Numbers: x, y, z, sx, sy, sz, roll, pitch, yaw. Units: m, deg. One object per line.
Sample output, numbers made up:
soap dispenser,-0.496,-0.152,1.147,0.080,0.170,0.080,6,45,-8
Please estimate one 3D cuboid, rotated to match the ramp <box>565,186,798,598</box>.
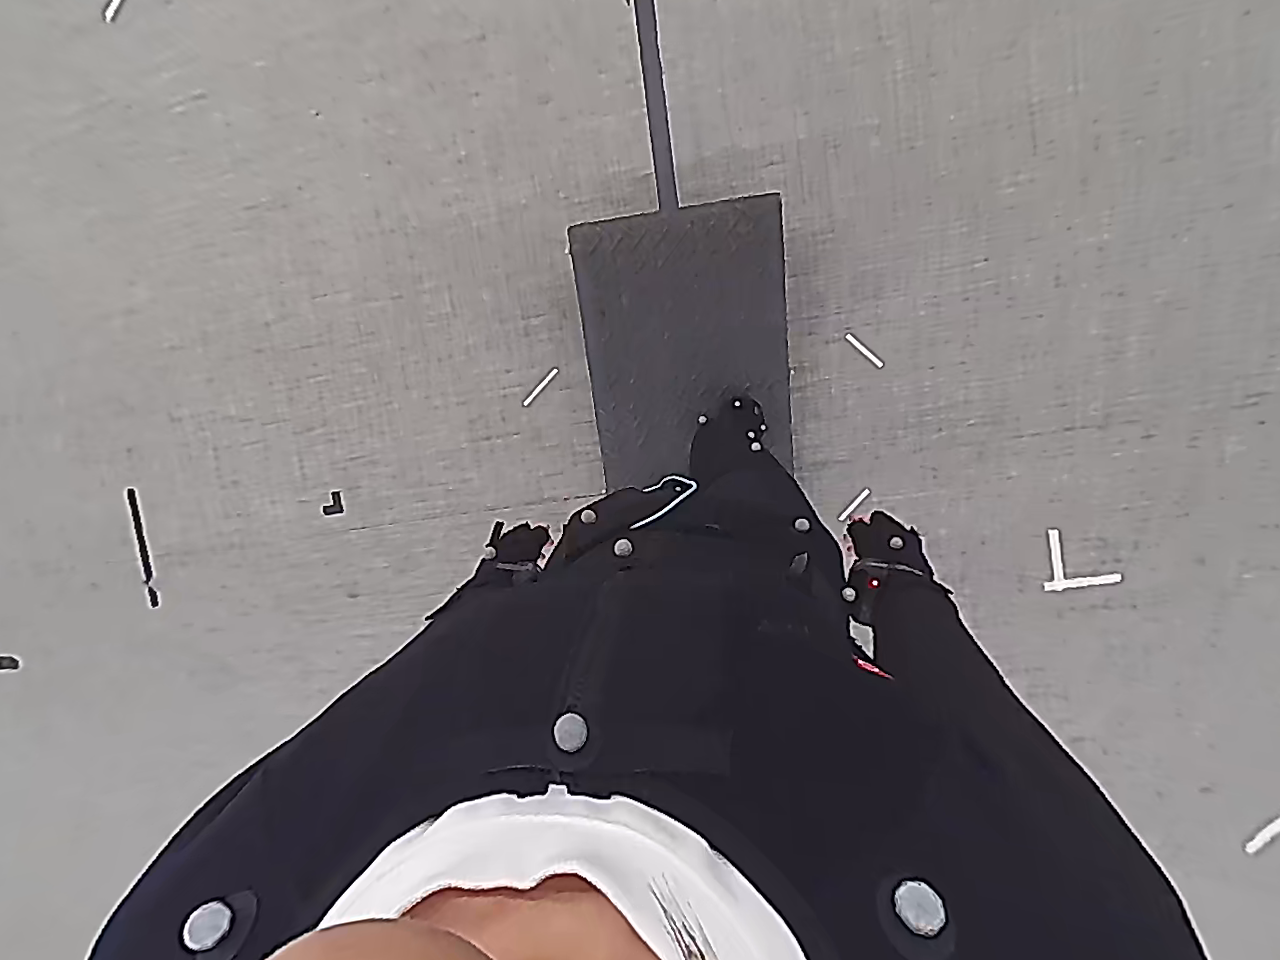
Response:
ramp,0.130,-0.154,1.368,0.509,0.206,0.991,-7,97,9
